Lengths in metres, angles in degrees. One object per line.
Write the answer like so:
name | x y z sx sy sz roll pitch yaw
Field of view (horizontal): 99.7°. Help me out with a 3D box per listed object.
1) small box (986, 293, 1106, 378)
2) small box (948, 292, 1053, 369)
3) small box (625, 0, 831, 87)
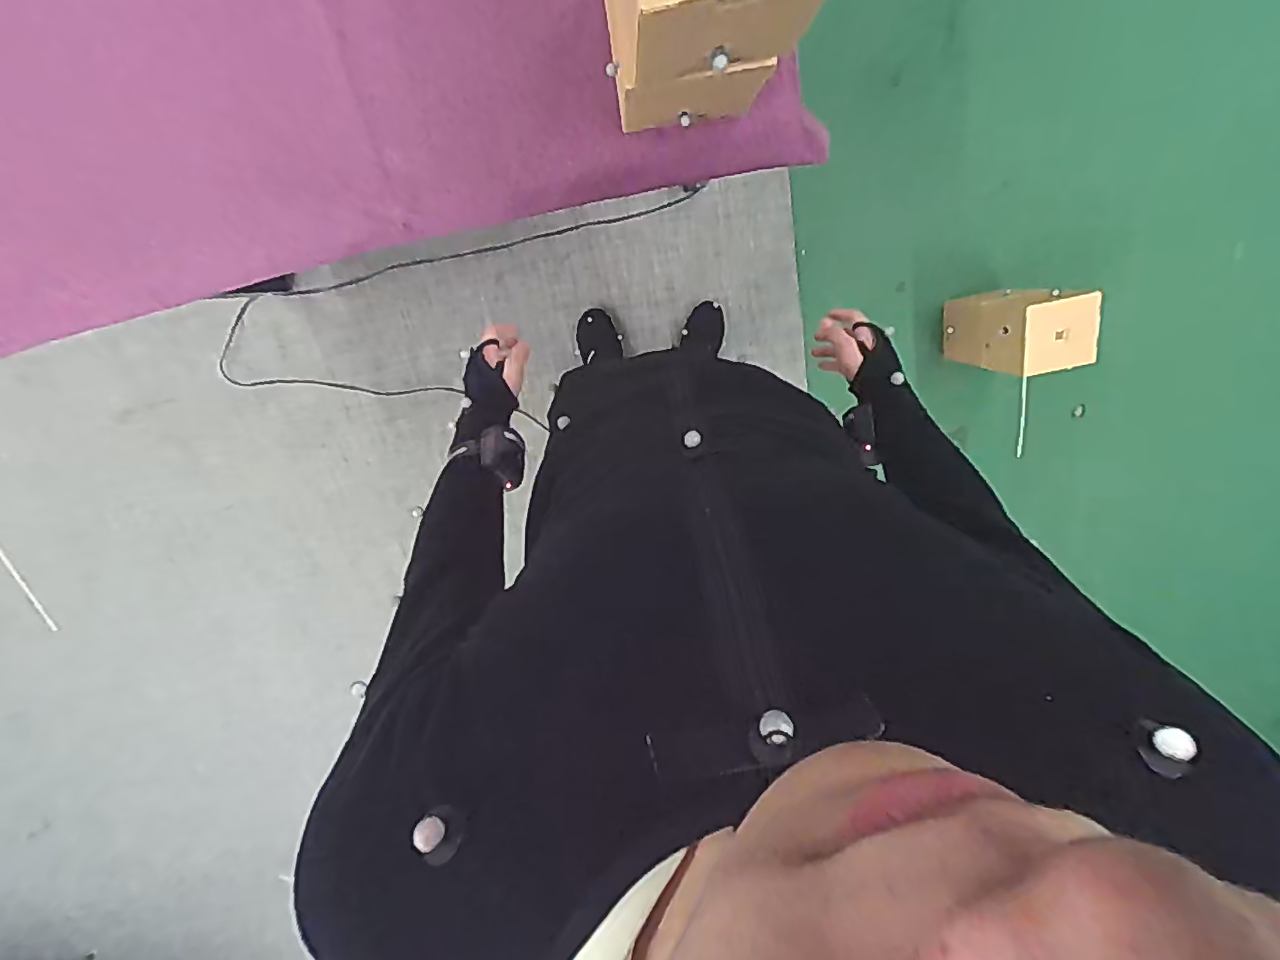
small box | 0.982 -0.356 1.324 0.179 0.176 0.168 -12 109 1
small box | 0.974 -0.413 1.474 0.179 0.176 0.168 -11 109 3
small box | 0.064 -0.477 0.460 0.168 0.176 0.179 -10 110 3
